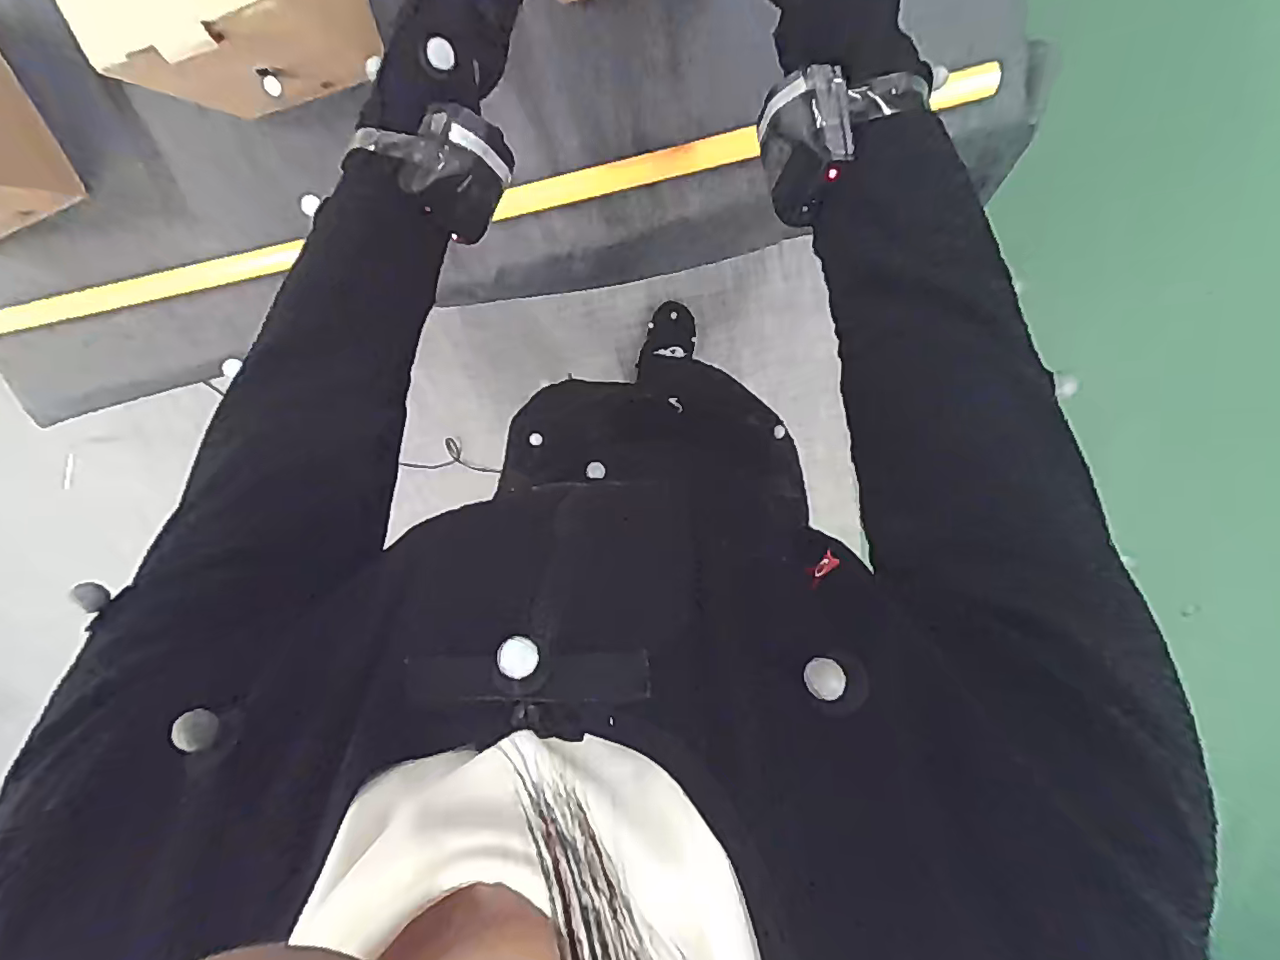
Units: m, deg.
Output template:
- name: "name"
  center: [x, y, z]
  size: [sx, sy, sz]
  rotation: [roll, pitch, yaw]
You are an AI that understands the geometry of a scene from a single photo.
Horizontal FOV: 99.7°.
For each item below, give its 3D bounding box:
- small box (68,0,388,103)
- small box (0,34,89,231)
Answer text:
- name: "small box"
  center: [-0.346, -0.440, 0.443]
  size: [0.168, 0.176, 0.179]
  rotation: [-12, 111, 12]
- name: "small box"
  center: [-0.713, -0.348, 0.518]
  size: [0.168, 0.176, 0.179]
  rotation: [-16, 109, 10]
